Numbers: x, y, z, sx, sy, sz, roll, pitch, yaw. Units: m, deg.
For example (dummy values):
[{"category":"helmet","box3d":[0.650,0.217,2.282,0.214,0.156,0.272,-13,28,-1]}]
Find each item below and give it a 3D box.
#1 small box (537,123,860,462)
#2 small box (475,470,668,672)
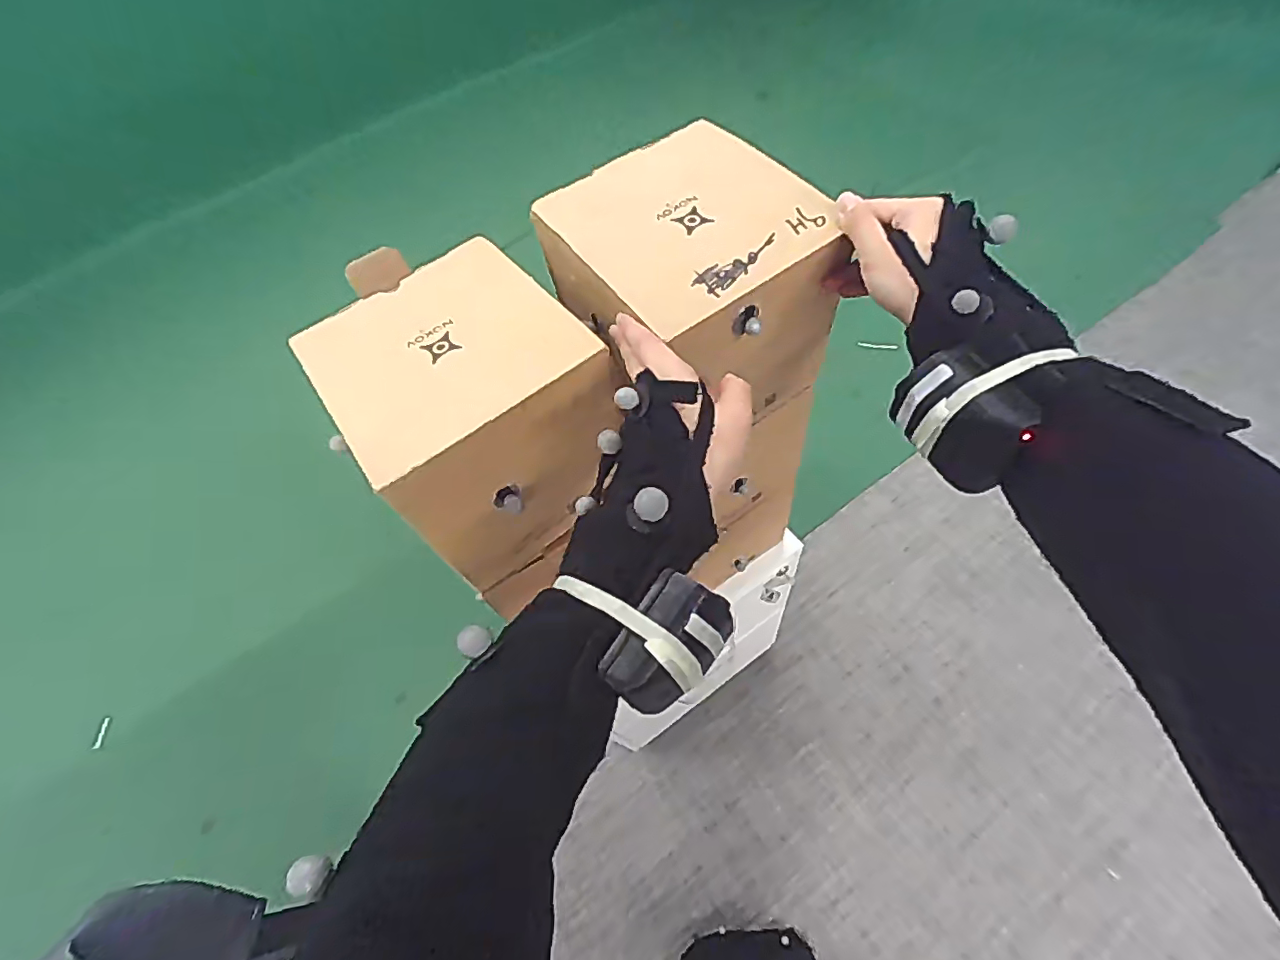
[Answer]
[{"category":"small box","box3d":[0.041,-0.148,0.450,0.168,0.176,0.179,-33,63,-12]},{"category":"small box","box3d":[-0.078,0.126,0.700,0.168,0.176,0.179,-32,59,-12]}]
